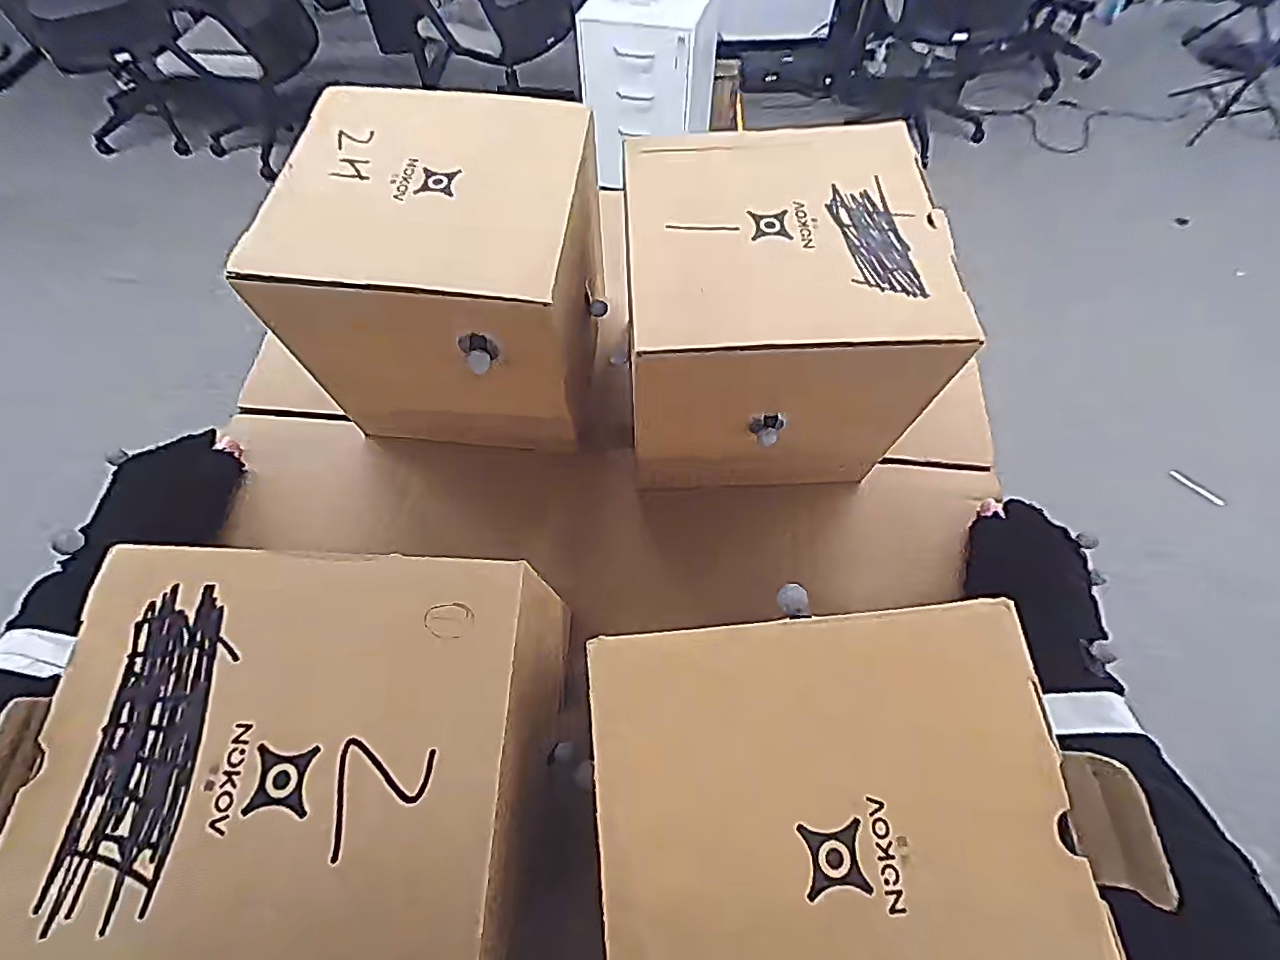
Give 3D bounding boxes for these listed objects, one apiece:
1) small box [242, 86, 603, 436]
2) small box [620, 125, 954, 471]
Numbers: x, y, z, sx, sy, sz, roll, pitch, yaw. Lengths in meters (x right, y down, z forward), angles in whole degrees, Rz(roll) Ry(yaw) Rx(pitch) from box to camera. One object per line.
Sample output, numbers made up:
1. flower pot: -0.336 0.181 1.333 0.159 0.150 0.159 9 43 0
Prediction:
1. small box: -0.125 -0.146 0.399 0.179 0.176 0.168 6 65 3
2. small box: 0.076 -0.114 0.384 0.179 0.176 0.168 -2 66 0
